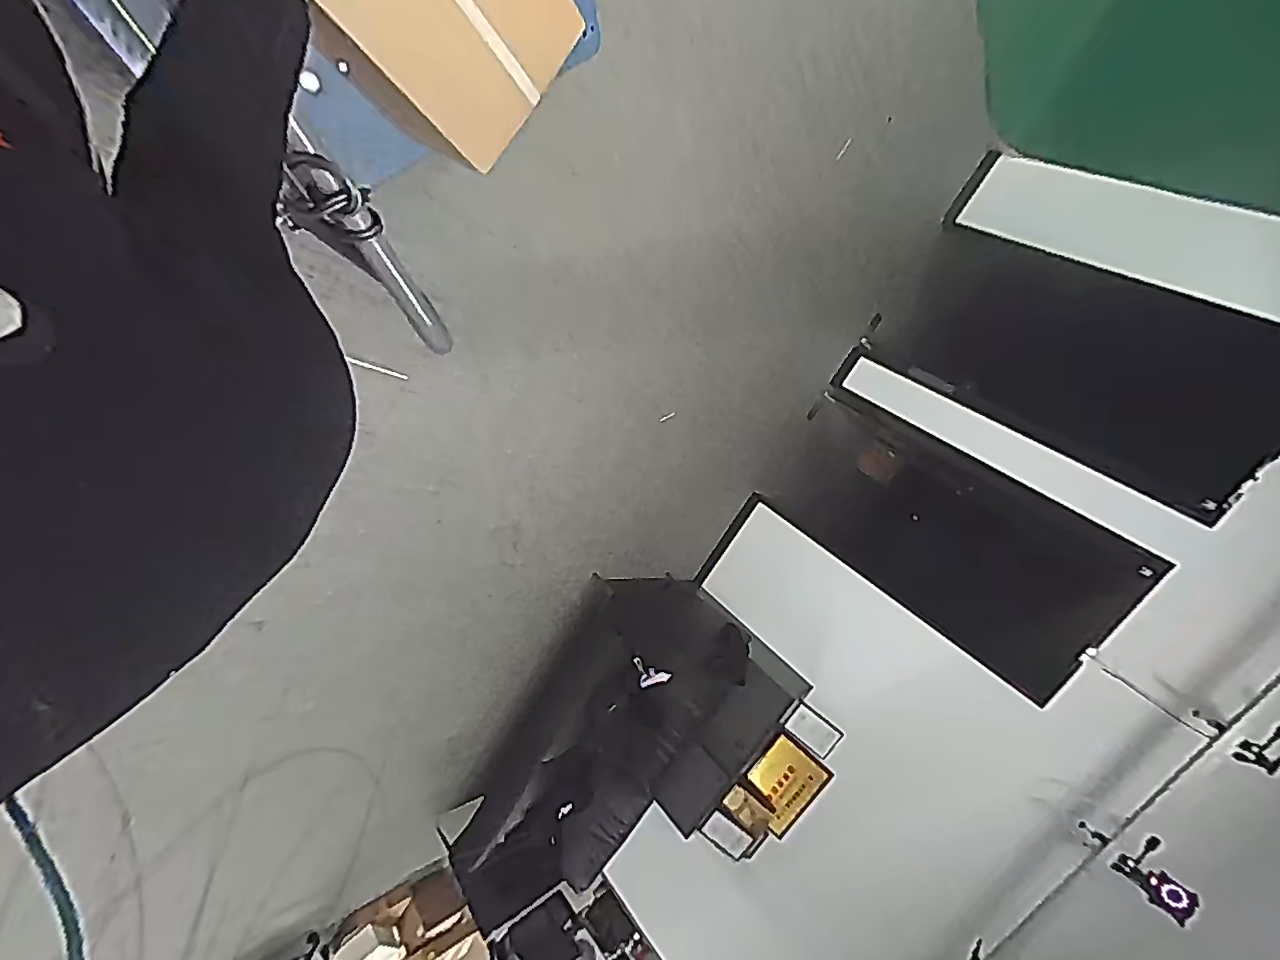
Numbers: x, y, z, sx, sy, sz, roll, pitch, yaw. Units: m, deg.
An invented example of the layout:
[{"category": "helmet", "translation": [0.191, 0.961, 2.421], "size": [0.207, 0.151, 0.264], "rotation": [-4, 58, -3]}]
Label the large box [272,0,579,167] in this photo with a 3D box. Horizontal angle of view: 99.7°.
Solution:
[{"category": "large box", "translation": [-0.382, -0.806, 0.864], "size": [0.320, 0.320, 0.408], "rotation": [-53, 148, 5]}]
